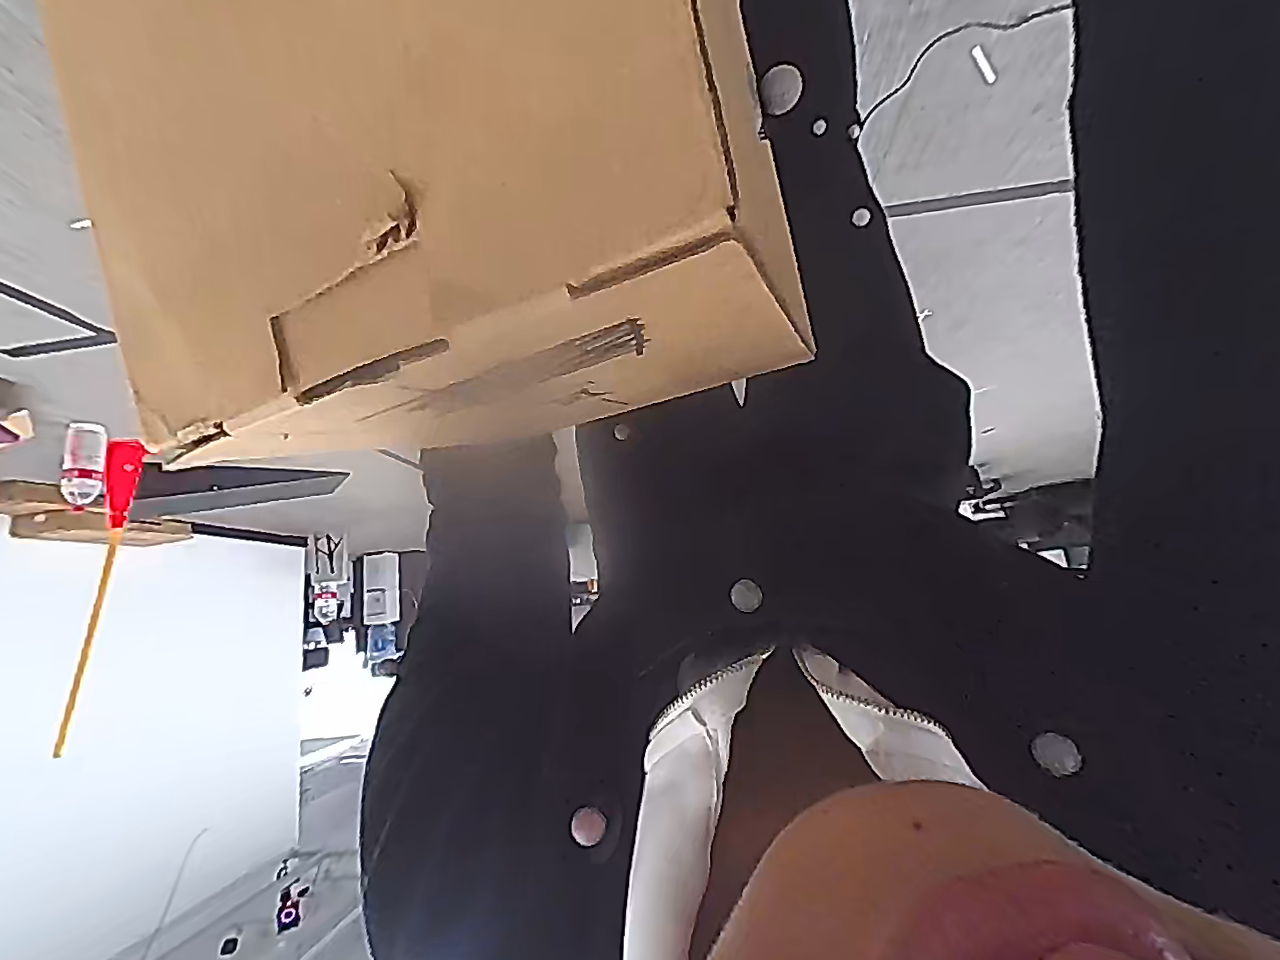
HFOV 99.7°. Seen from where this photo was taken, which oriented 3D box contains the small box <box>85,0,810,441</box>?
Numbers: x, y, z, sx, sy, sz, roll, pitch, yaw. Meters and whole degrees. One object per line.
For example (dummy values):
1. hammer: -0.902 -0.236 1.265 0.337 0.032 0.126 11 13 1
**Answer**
1. small box: -0.045 -0.117 0.196 0.168 0.176 0.179 -13 -179 22
